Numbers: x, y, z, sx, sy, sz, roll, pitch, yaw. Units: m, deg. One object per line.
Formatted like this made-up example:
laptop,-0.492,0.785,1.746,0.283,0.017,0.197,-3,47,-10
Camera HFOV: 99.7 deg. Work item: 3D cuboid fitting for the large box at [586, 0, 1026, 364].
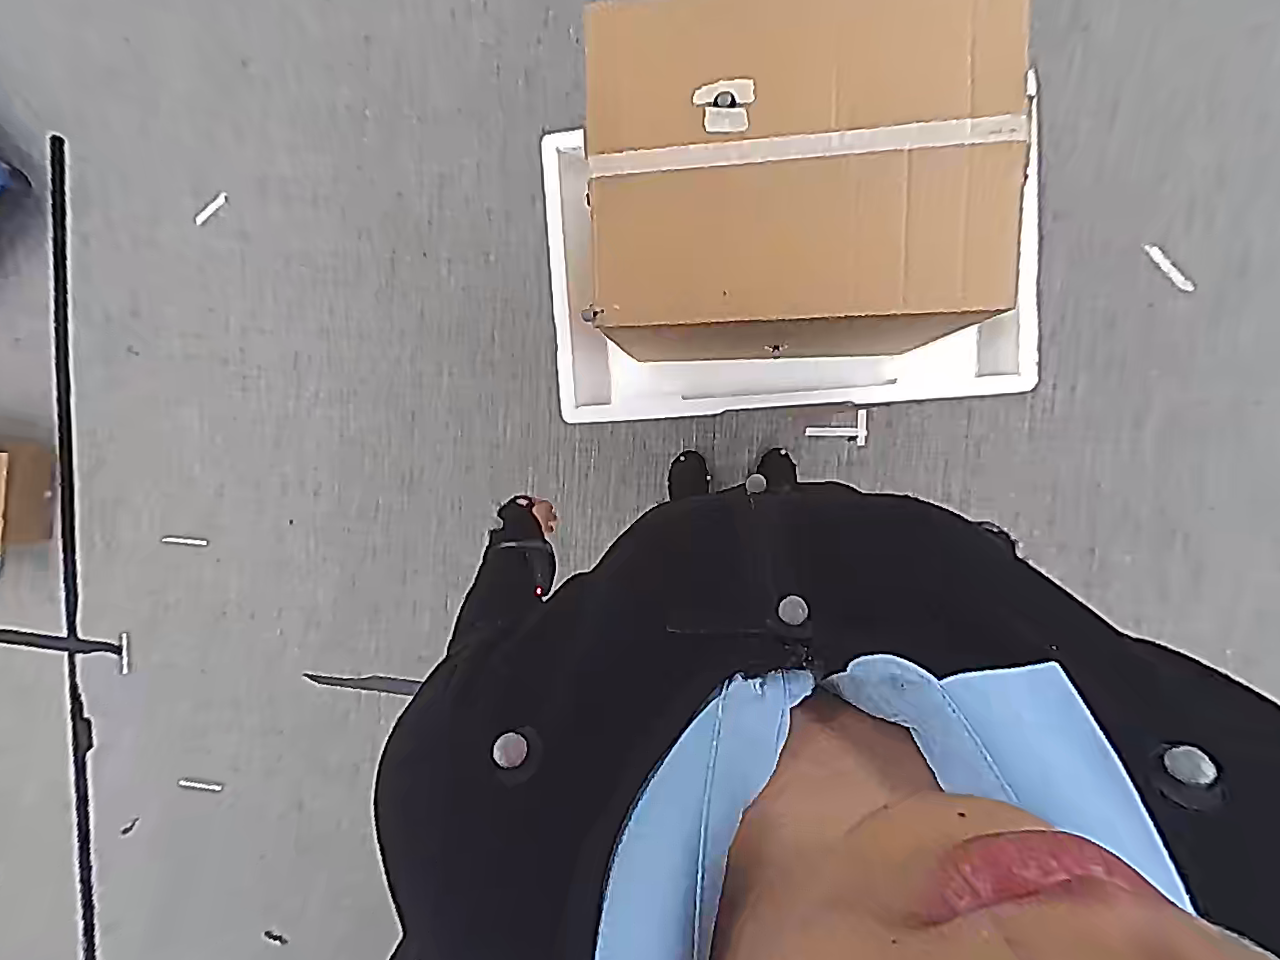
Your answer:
large box,0.171,-0.321,0.660,0.408,0.320,0.320,-1,94,9
